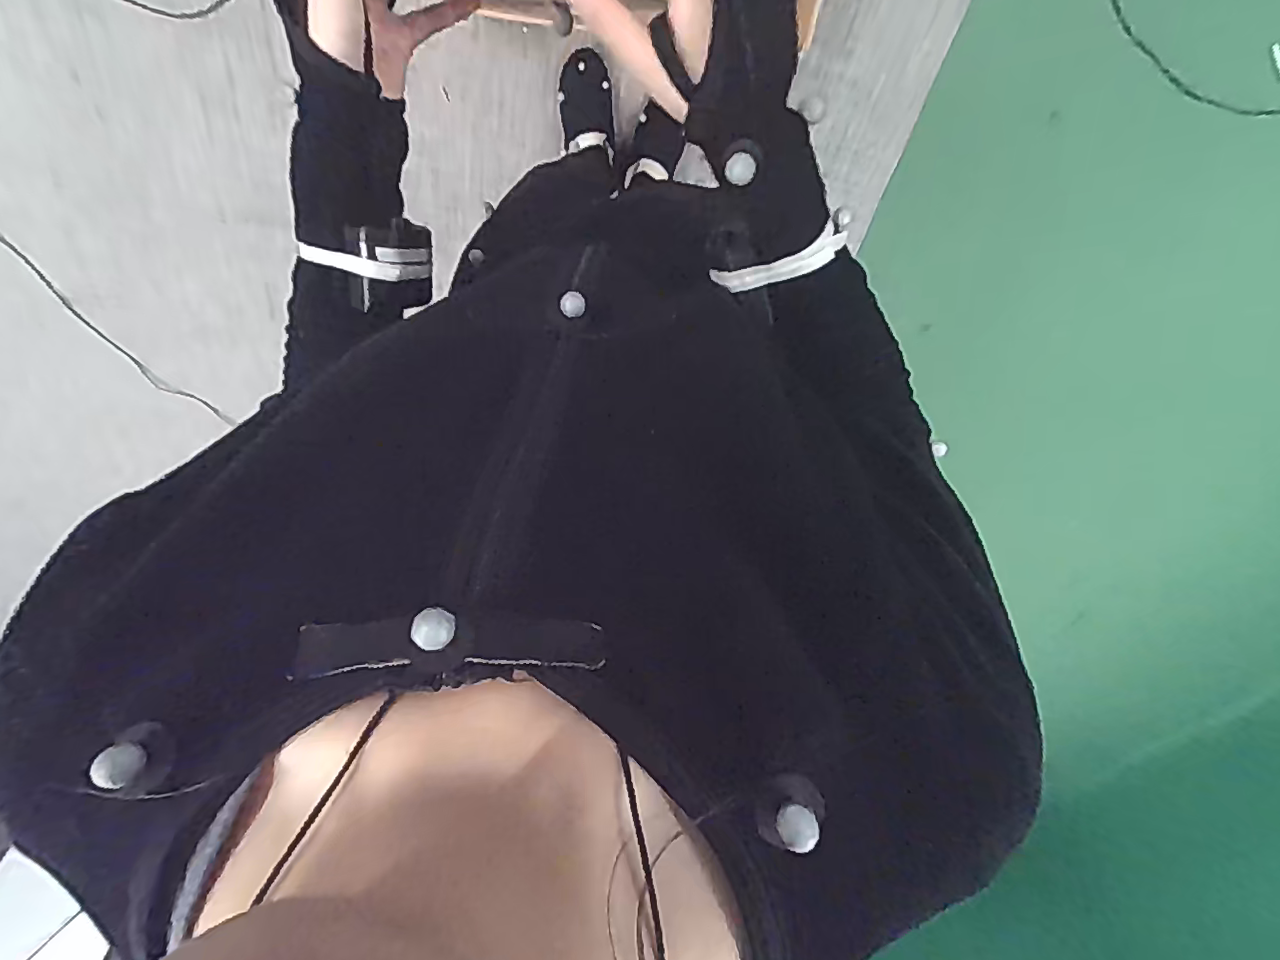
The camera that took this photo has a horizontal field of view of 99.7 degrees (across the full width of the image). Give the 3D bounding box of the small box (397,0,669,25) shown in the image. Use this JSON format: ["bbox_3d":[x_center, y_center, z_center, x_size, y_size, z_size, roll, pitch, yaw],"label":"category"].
[{"bbox_3d":[-0.072,-0.374,0.305,0.179,0.176,0.168,18,129,18],"label":"small box"}]
